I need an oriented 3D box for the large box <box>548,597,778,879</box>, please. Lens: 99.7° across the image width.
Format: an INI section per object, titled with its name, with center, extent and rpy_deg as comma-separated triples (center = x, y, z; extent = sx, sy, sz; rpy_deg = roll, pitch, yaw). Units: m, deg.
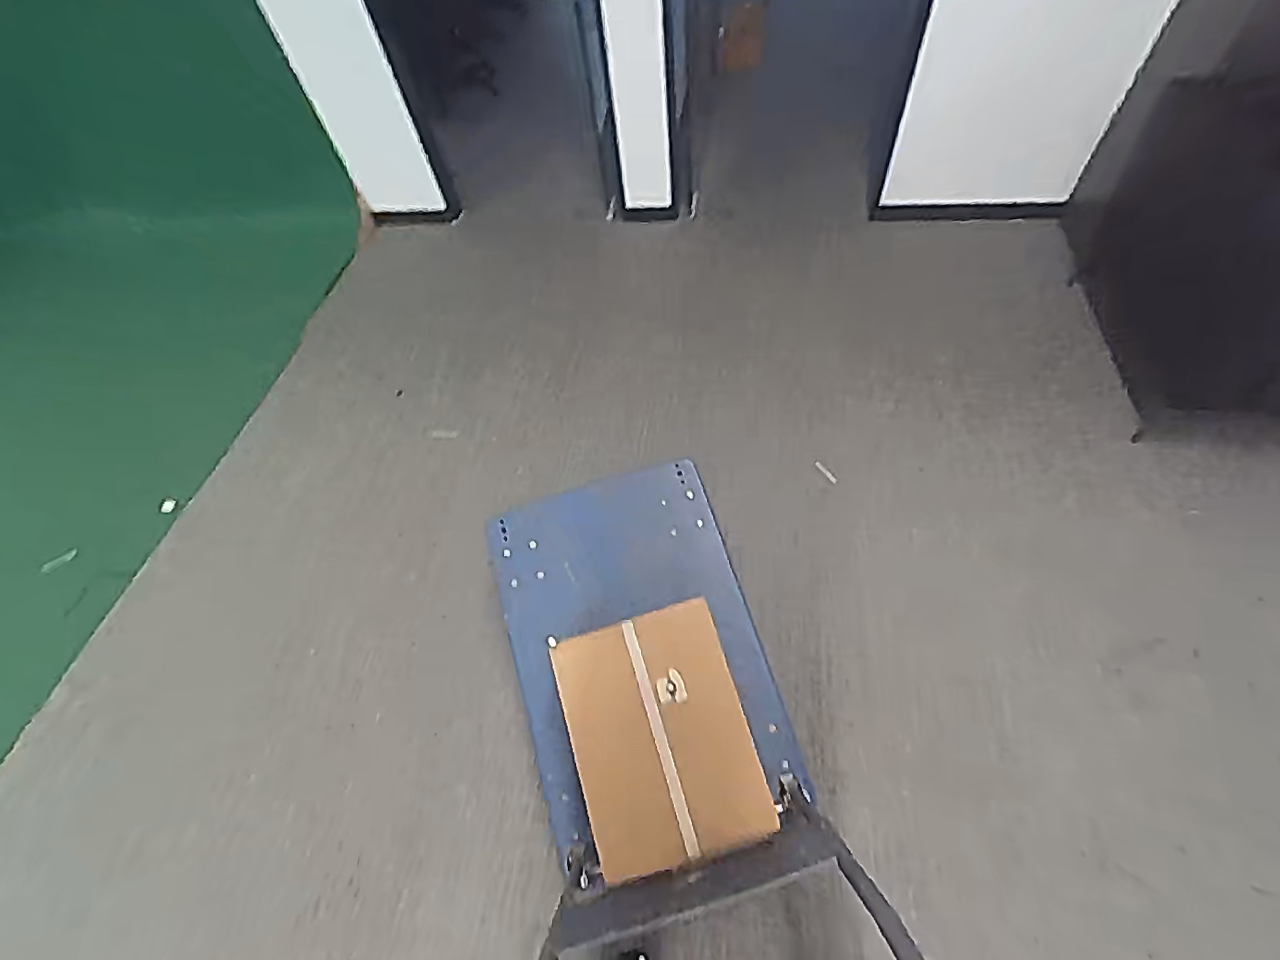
[large box]
center = 0.042, 0.492, 1.111
extent = 0.320, 0.320, 0.408
rpy_deg = -18, 72, -2
